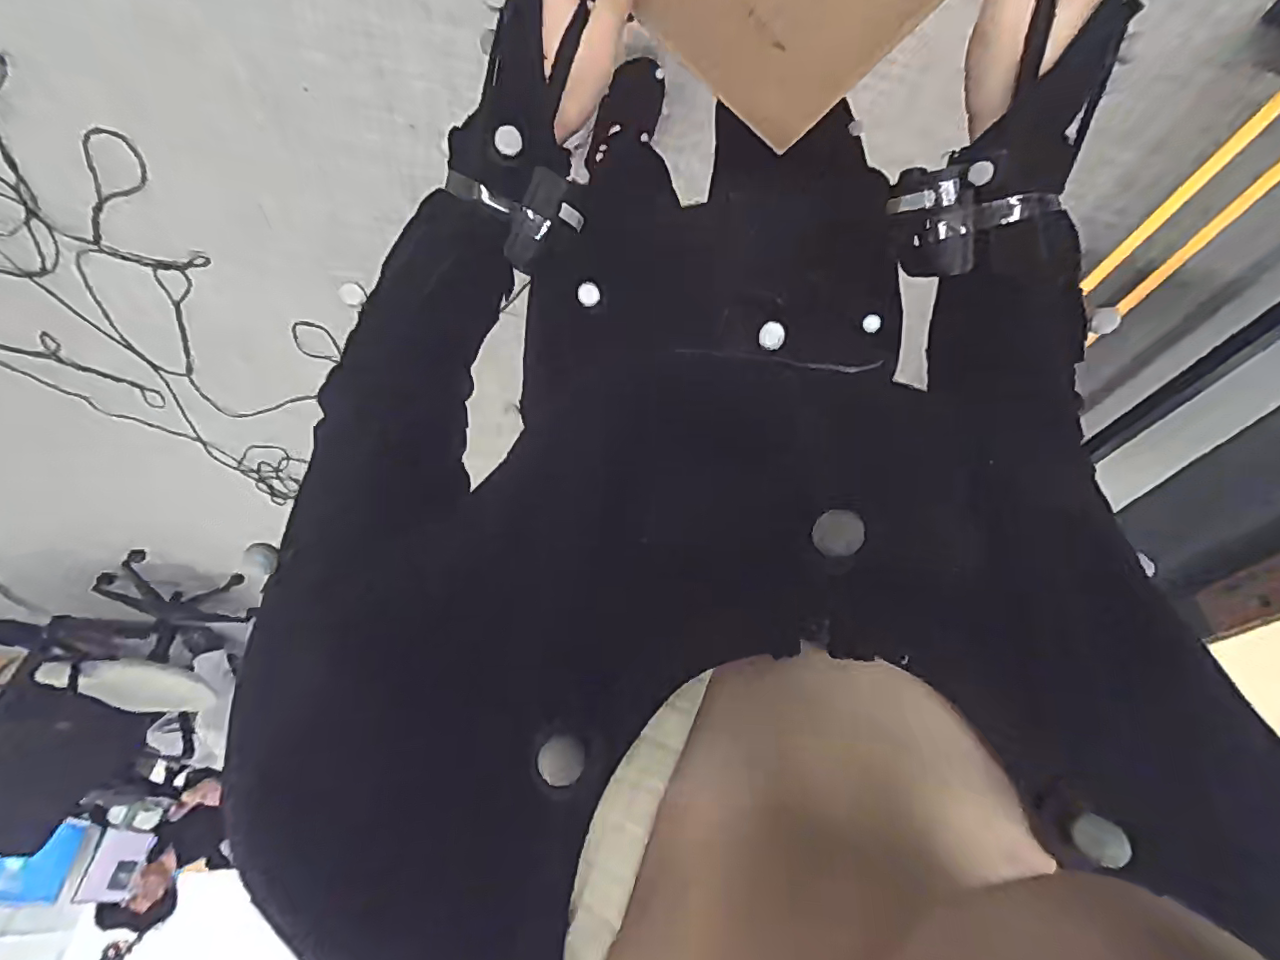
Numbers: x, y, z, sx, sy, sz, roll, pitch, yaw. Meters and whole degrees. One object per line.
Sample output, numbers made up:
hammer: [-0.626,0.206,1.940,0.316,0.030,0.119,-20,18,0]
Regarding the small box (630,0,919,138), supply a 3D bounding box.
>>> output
small box: [0.092,-0.362,0.308,0.168,0.176,0.179,26,151,-27]
